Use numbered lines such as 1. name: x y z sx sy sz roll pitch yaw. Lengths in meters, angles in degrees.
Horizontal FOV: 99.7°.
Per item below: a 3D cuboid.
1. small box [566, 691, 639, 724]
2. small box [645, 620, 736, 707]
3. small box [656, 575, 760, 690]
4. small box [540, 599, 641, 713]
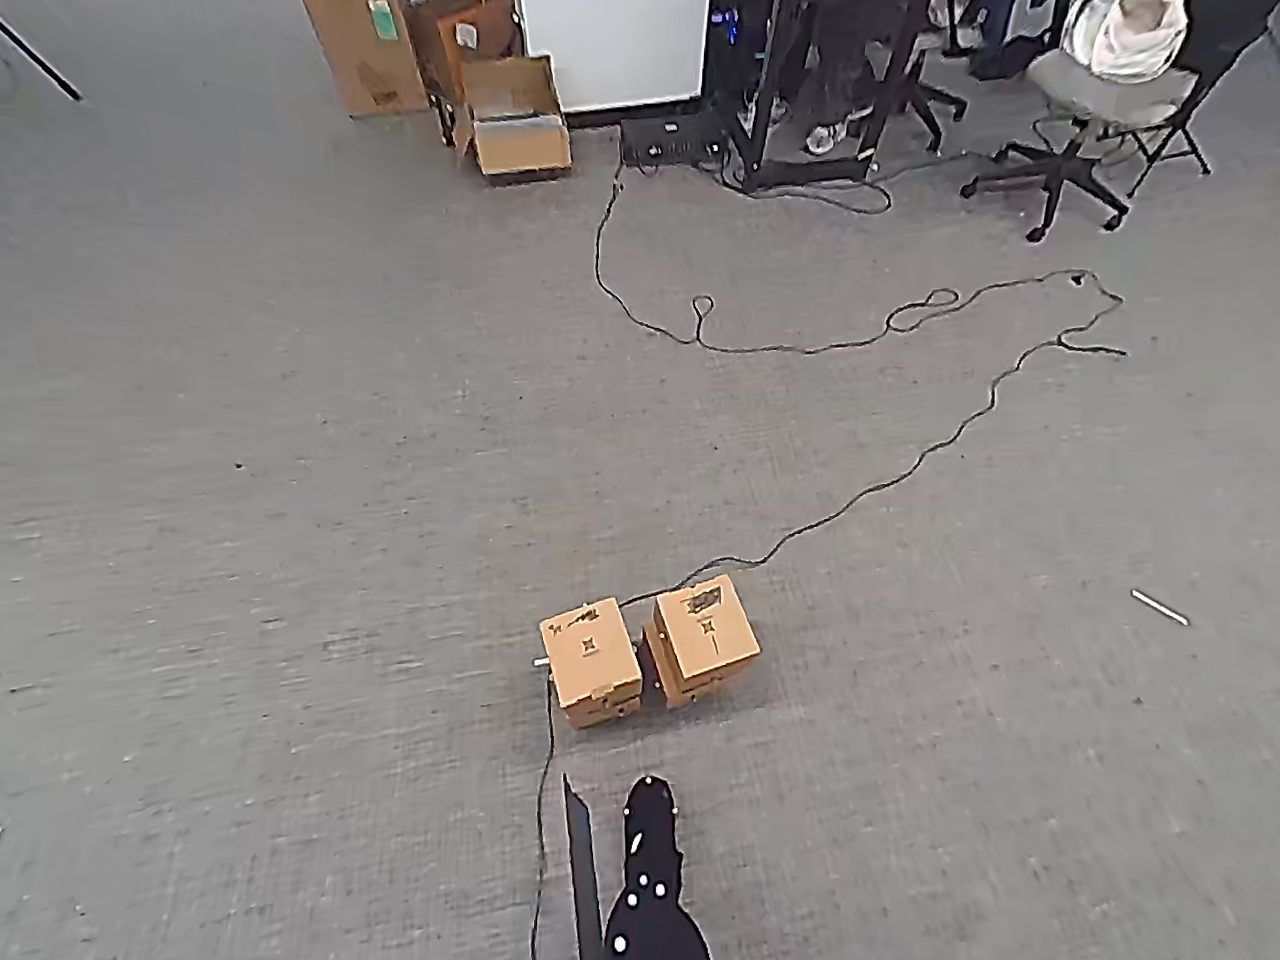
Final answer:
1. small box: -0.100 0.468 1.284 0.168 0.176 0.179 -13 60 -8
2. small box: 0.112 0.427 1.308 0.168 0.176 0.179 -17 61 -10
3. small box: 0.137 0.333 1.172 0.168 0.176 0.179 -16 62 -9
4. small box: -0.100 0.379 1.145 0.168 0.176 0.179 -17 62 -10
